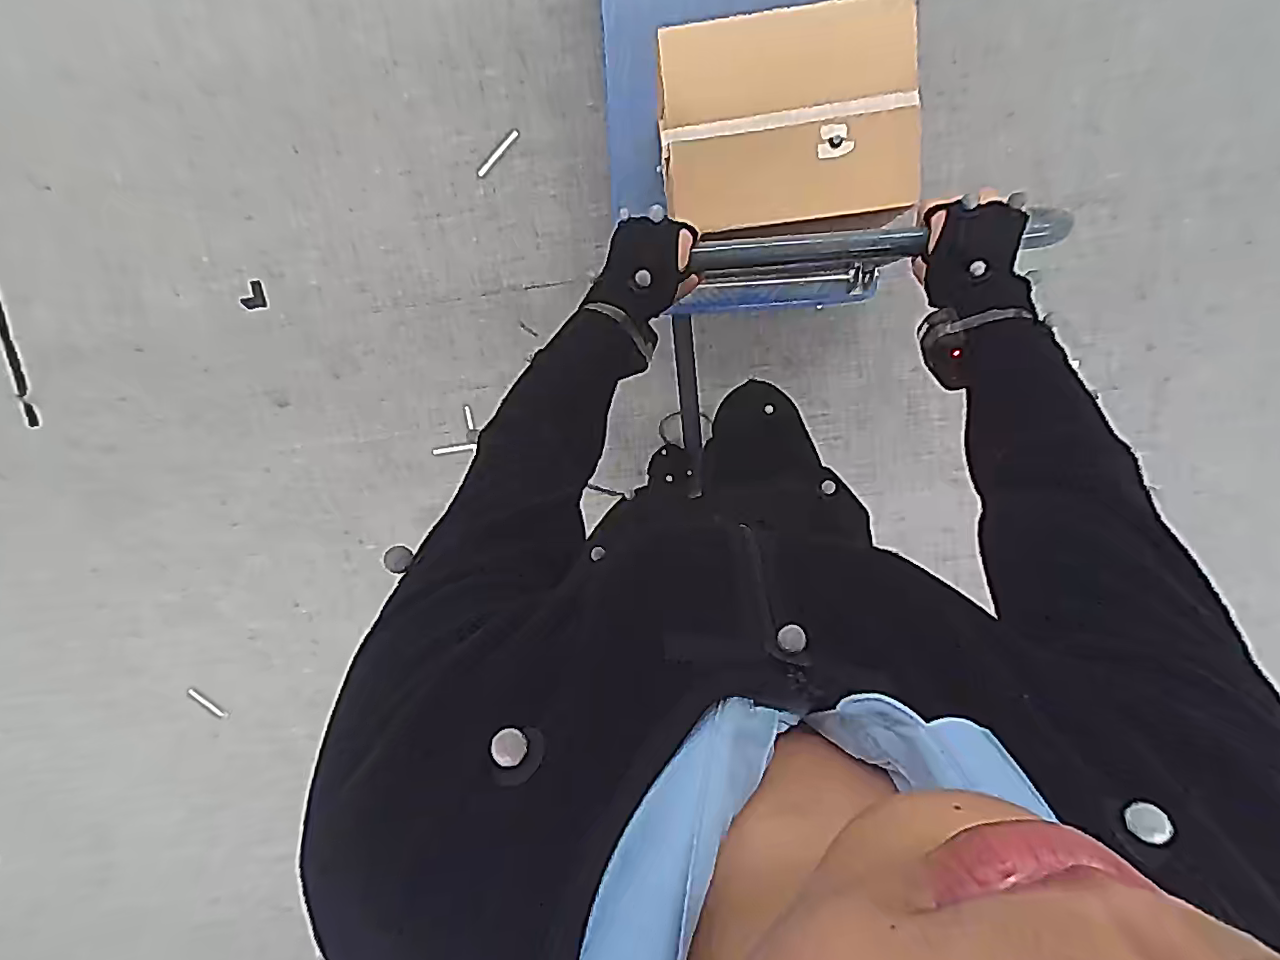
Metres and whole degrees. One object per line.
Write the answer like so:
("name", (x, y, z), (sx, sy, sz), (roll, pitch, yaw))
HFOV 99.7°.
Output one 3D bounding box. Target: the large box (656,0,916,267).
("large box", (0.250, -0.621, 1.035), (0.408, 0.320, 0.320), (-7, 102, 3))
